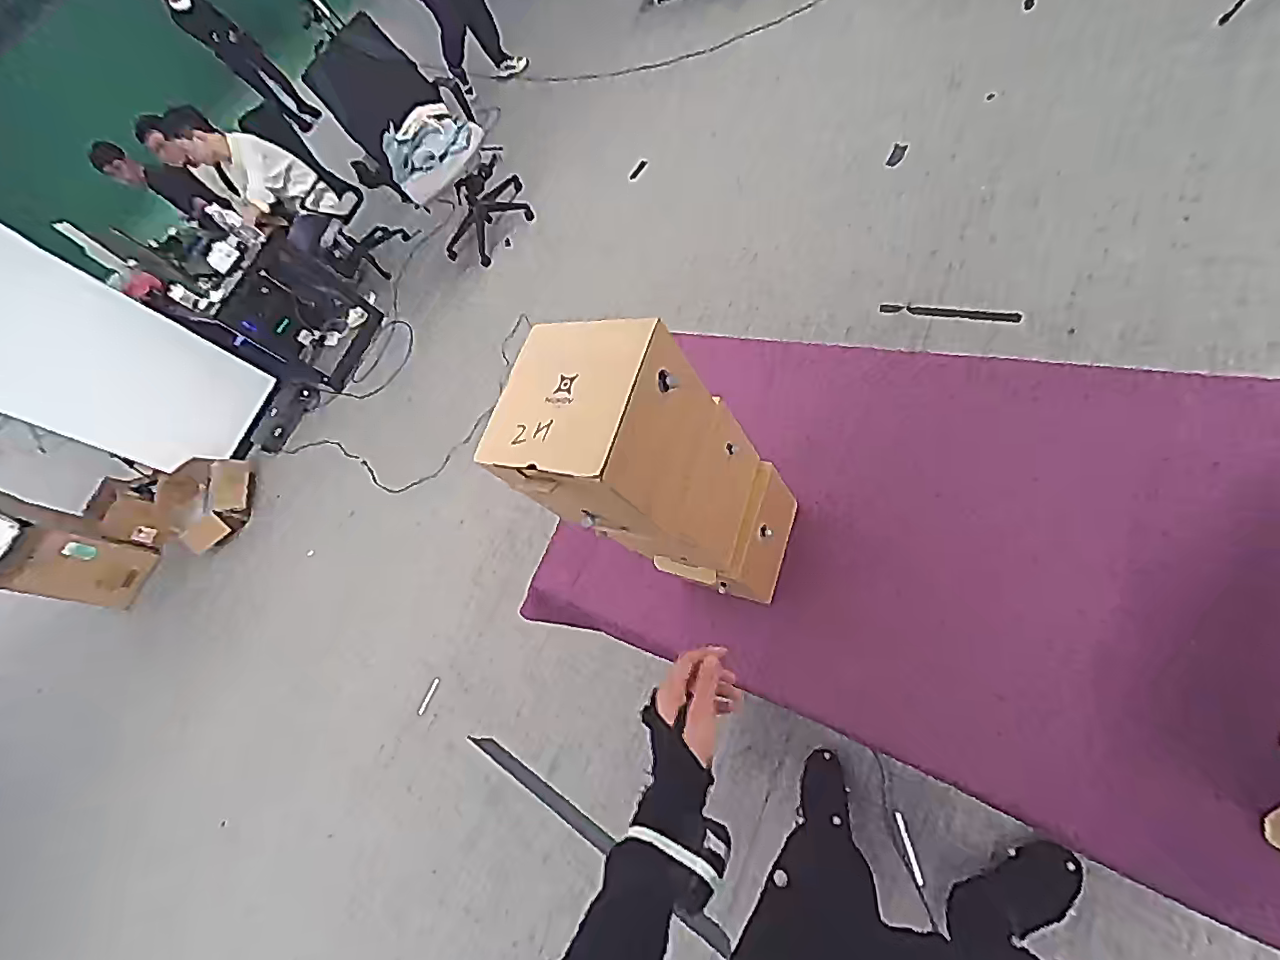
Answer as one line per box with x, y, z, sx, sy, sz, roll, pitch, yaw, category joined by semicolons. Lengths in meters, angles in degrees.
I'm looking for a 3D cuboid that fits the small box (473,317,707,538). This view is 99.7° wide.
-0.041;-0.055;0.595;0.168;0.176;0.179;8;70;33;small box

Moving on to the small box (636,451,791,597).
0.125;0.070;0.853;0.168;0.176;0.179;11;73;33;small box
